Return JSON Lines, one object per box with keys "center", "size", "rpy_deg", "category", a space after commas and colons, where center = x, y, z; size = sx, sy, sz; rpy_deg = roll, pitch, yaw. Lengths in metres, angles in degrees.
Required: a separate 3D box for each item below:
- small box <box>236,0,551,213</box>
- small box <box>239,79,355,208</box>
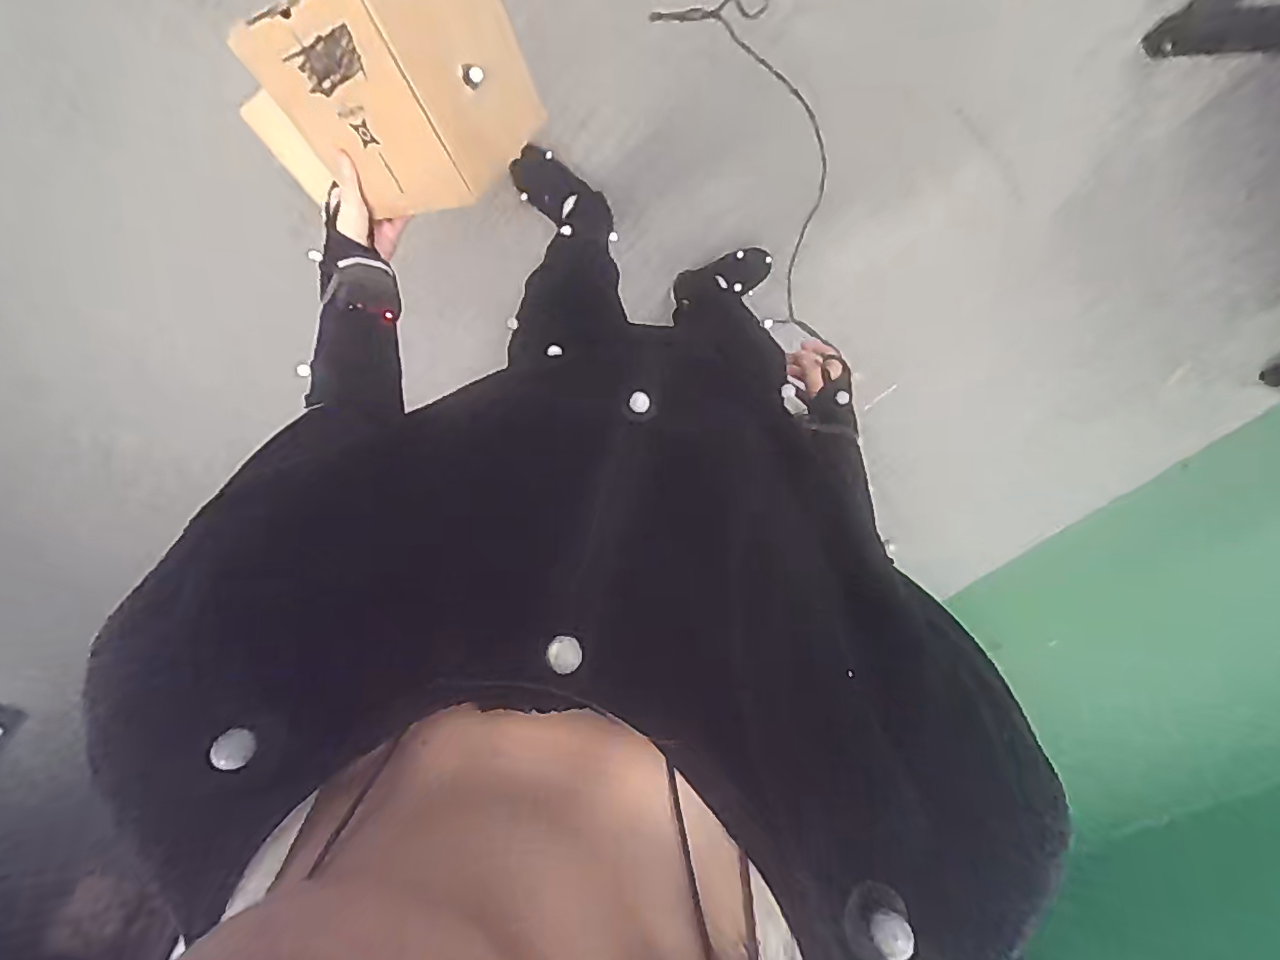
{"center": [-0.216, -0.392, 0.521], "size": [0.168, 0.176, 0.179], "rpy_deg": [10, 150, 27], "category": "small box"}
{"center": [-0.523, -0.606, 0.934], "size": [0.179, 0.176, 0.168], "rpy_deg": [-28, 123, 15], "category": "small box"}
